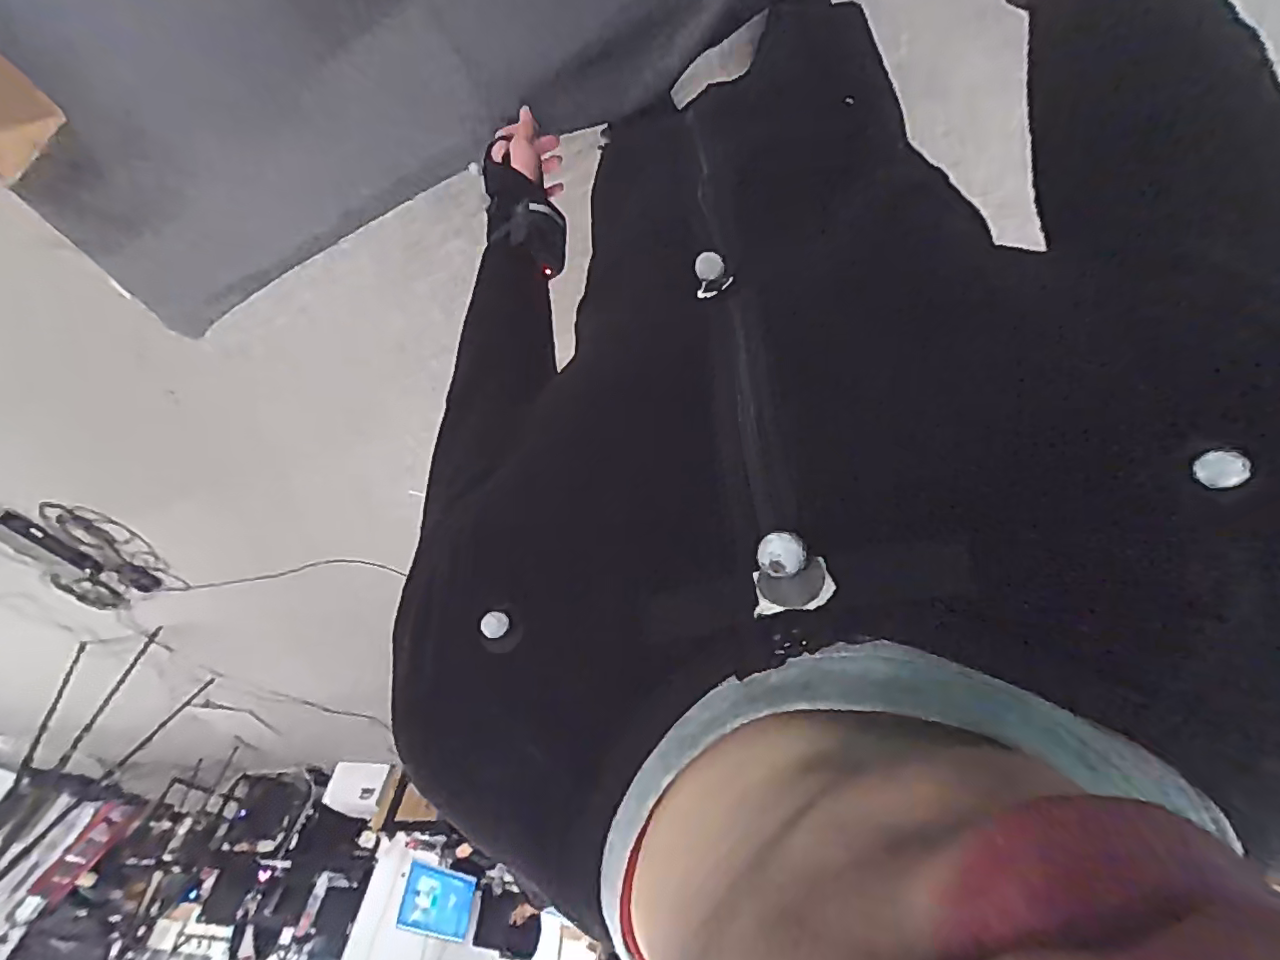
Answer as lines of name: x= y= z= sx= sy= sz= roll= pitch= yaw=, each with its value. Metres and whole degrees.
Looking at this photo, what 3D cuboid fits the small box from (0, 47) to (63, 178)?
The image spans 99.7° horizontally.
small box: x=-0.806 y=-0.425 z=0.582 sx=0.168 sy=0.176 sz=0.179 roll=-18 pitch=131 yaw=25
